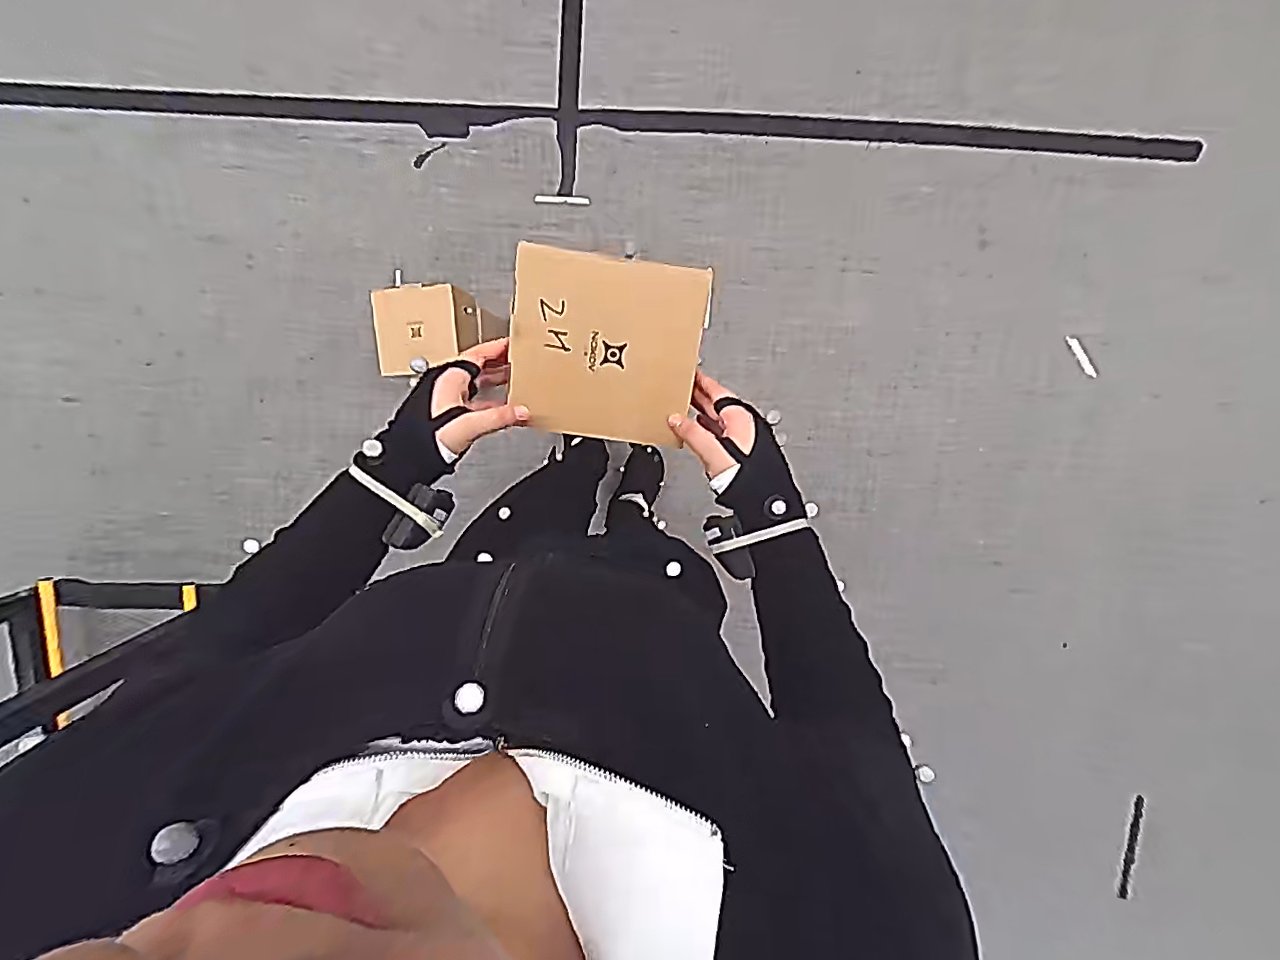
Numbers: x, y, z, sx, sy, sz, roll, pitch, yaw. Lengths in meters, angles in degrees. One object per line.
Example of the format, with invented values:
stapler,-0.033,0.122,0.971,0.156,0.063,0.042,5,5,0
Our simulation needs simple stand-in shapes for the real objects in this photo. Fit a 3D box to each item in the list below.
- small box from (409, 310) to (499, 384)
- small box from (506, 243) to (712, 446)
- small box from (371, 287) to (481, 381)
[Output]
small box,-0.458,-0.324,1.335,0.179,0.176,0.168,0,99,-2
small box,-0.033,-0.148,0.578,0.179,0.176,0.168,8,109,-2
small box,-0.454,-0.310,1.172,0.168,0.176,0.179,-4,100,1
